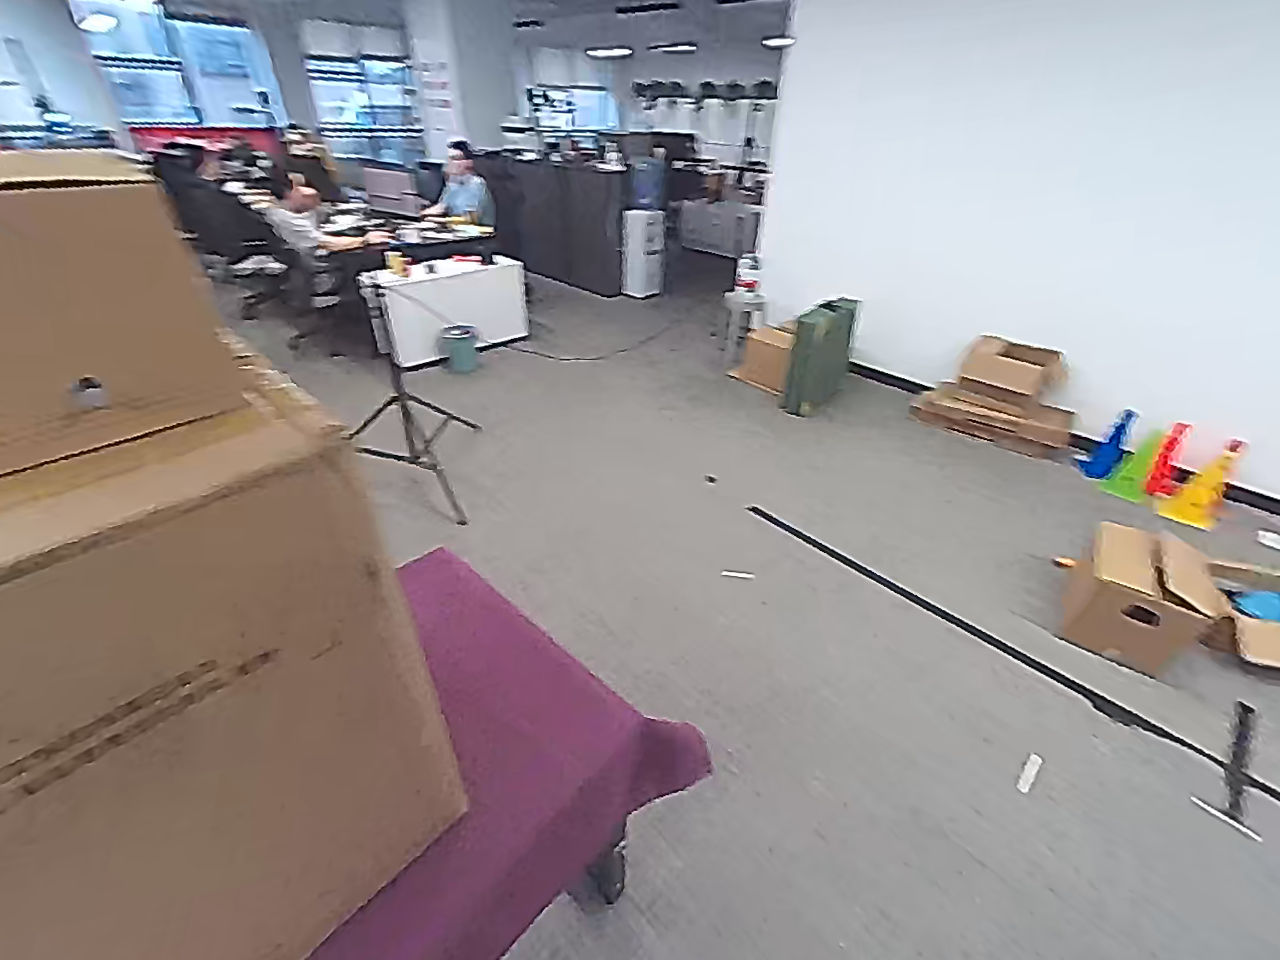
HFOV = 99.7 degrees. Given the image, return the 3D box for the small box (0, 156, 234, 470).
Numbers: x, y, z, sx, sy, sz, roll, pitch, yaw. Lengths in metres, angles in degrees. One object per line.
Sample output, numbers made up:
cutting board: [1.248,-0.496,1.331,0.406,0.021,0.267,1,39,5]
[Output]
small box: [-0.436,-0.129,0.395,0.168,0.176,0.179,29,43,33]
